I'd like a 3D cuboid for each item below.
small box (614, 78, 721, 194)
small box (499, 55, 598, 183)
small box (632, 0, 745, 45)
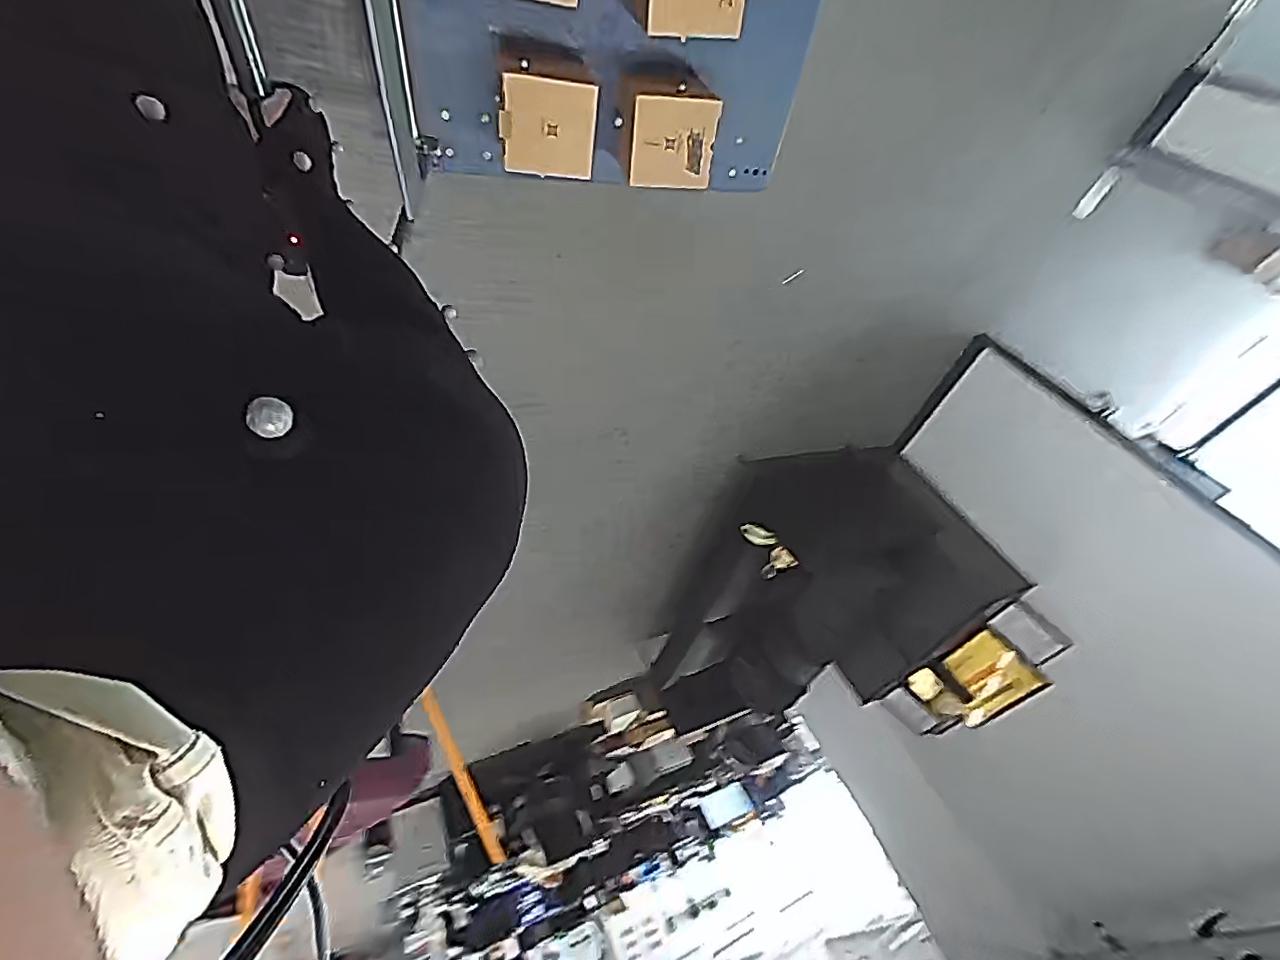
[{"bbox_3d":[0.050,-0.731,1.148,0.179,0.176,0.168,-4,138,-12],"label":"small box"},{"bbox_3d":[-0.190,-0.725,1.085,0.179,0.176,0.168,-1,138,-15],"label":"small box"},{"bbox_3d":[0.086,-0.900,0.963,0.179,0.176,0.168,-6,140,-11],"label":"small box"}]
